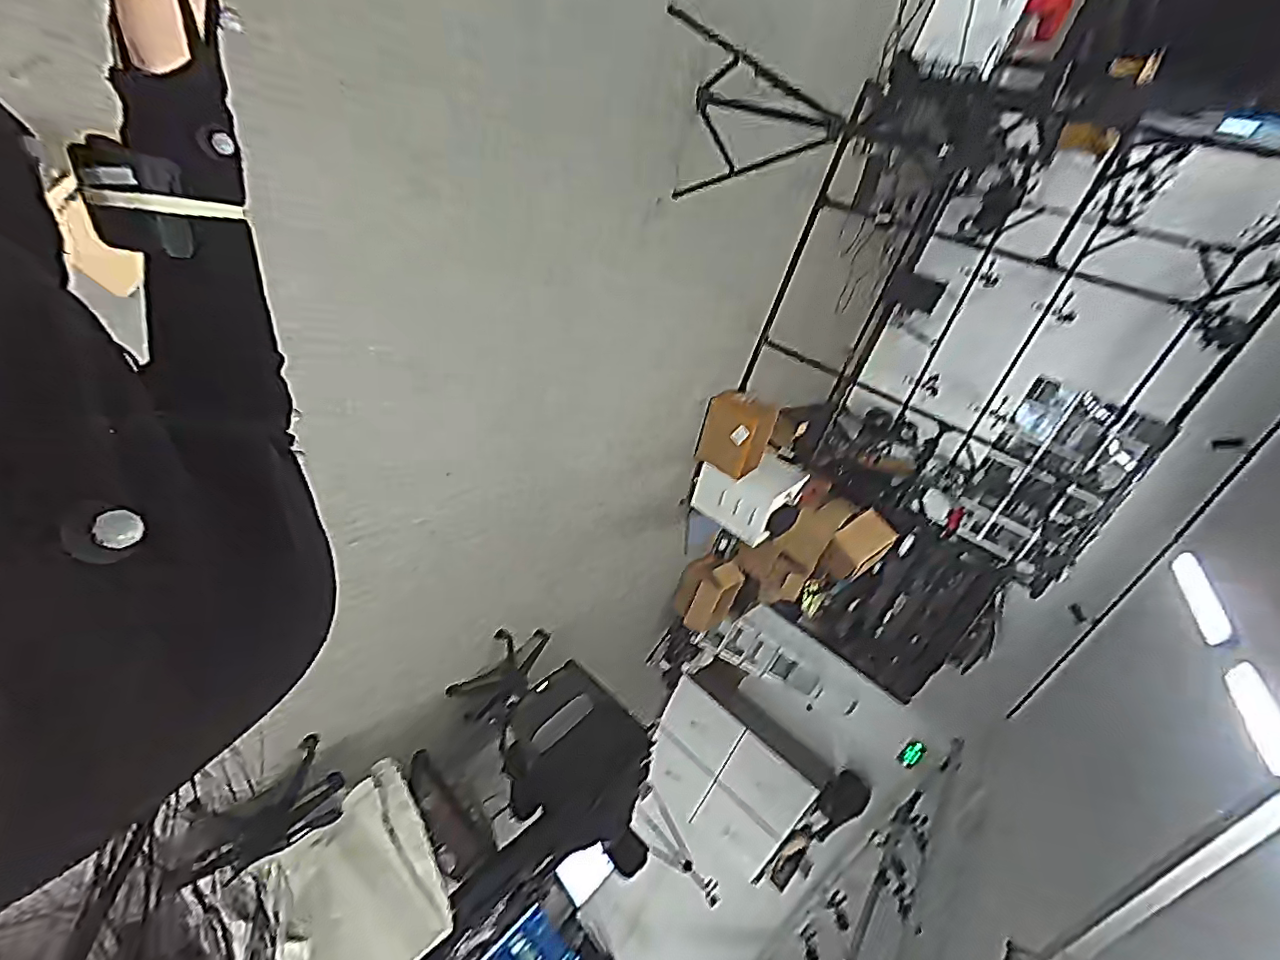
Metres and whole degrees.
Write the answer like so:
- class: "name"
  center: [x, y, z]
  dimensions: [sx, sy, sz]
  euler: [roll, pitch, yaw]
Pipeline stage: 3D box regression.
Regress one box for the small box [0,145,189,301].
- class: "small box"
  center: [-0.996, -0.469, 0.986]
  dimensions: [0.168, 0.176, 0.179]
  euler: [-48, 152, -13]
